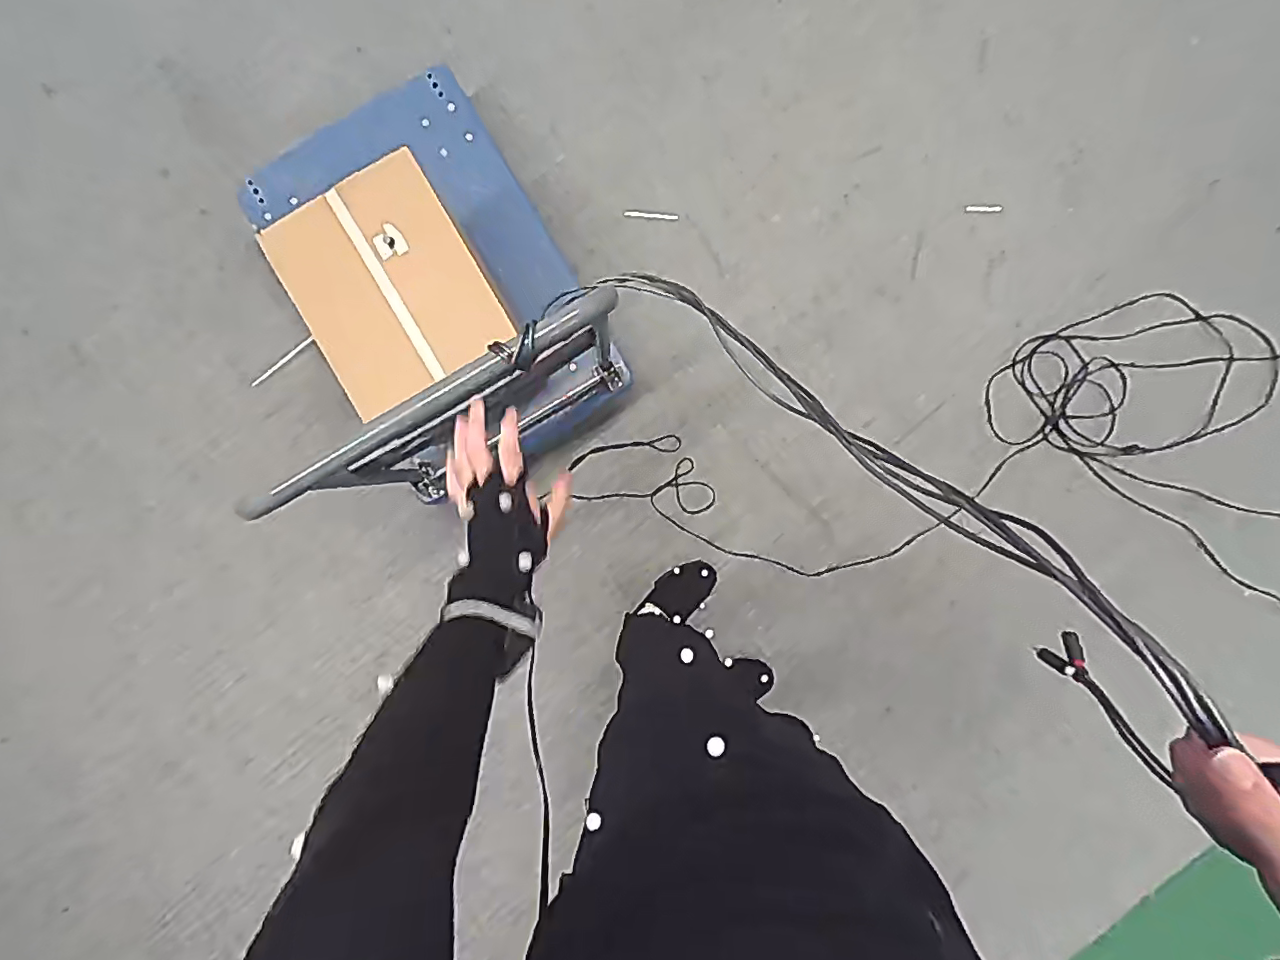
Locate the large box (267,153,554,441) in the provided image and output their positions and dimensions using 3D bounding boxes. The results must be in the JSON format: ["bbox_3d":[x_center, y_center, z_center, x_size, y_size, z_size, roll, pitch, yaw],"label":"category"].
[{"bbox_3d":[-0.428,-0.334,1.102,0.320,0.320,0.408,-31,89,-1],"label":"large box"}]
